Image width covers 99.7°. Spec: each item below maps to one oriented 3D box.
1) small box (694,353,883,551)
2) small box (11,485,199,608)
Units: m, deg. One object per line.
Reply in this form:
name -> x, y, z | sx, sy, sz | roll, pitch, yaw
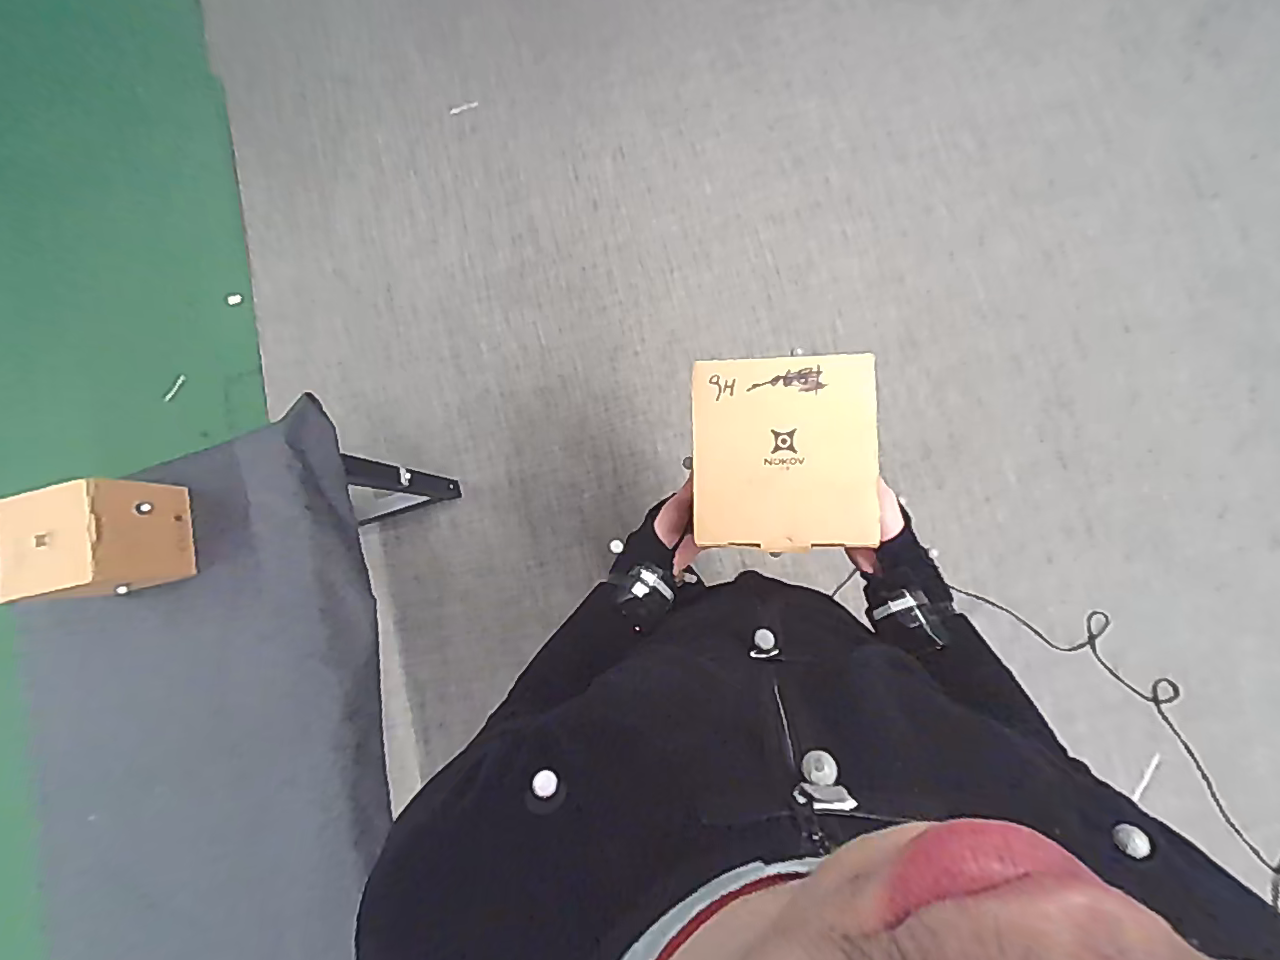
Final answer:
small box -> 0.143, -0.021, 0.562 | 0.168, 0.176, 0.179 | -1, 87, 8
small box -> -0.894, 0.114, 0.920 | 0.179, 0.176, 0.168 | -14, 79, 8
